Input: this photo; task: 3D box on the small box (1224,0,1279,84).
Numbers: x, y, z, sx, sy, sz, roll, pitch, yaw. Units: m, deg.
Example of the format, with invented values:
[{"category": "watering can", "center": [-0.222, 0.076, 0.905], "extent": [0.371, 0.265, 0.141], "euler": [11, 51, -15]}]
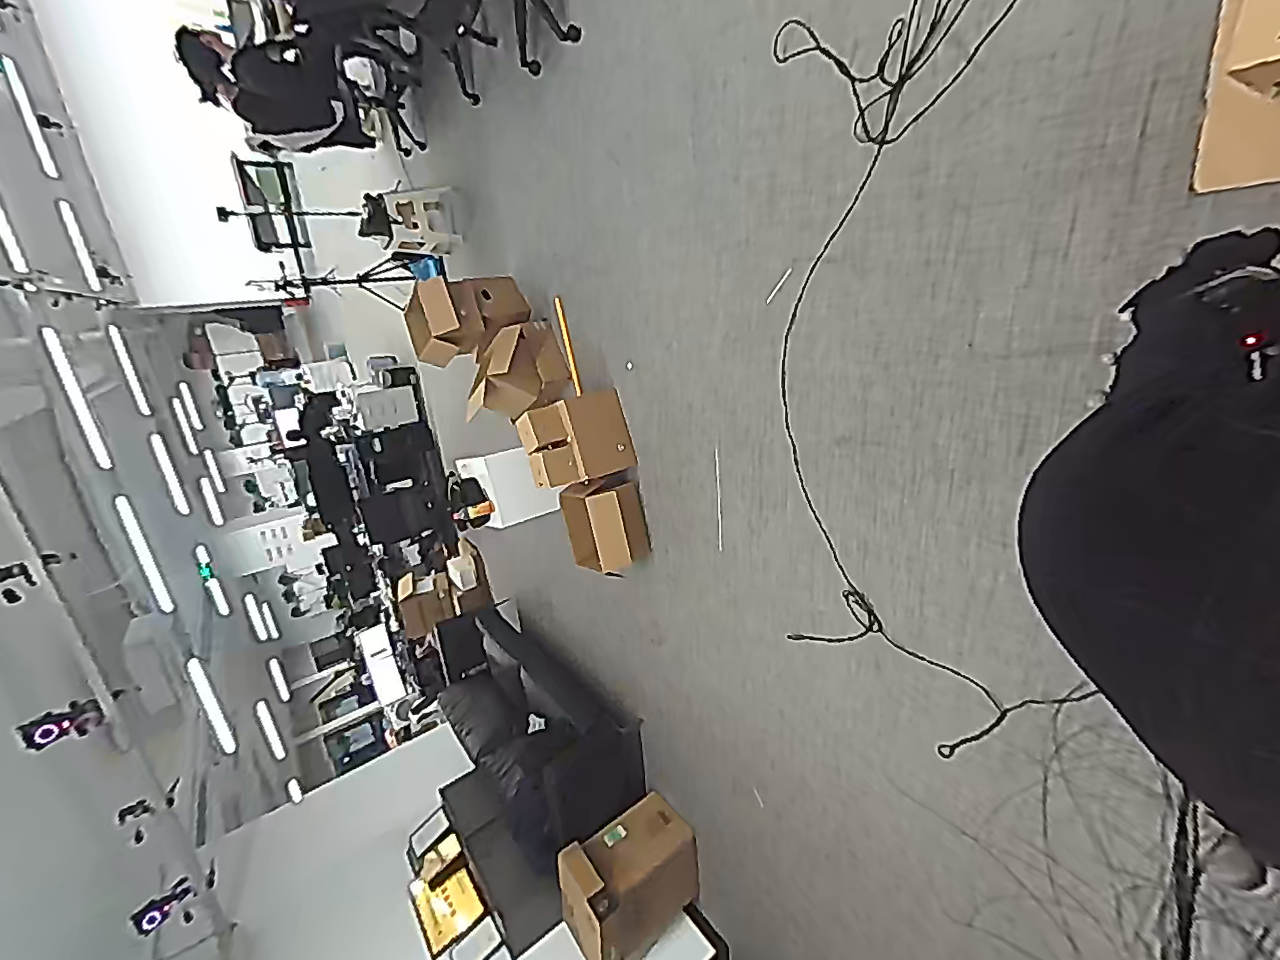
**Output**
[{"category": "small box", "center": [0.900, -0.639, 0.688], "extent": [0.168, 0.176, 0.179], "euler": [22, 123, 51]}]
